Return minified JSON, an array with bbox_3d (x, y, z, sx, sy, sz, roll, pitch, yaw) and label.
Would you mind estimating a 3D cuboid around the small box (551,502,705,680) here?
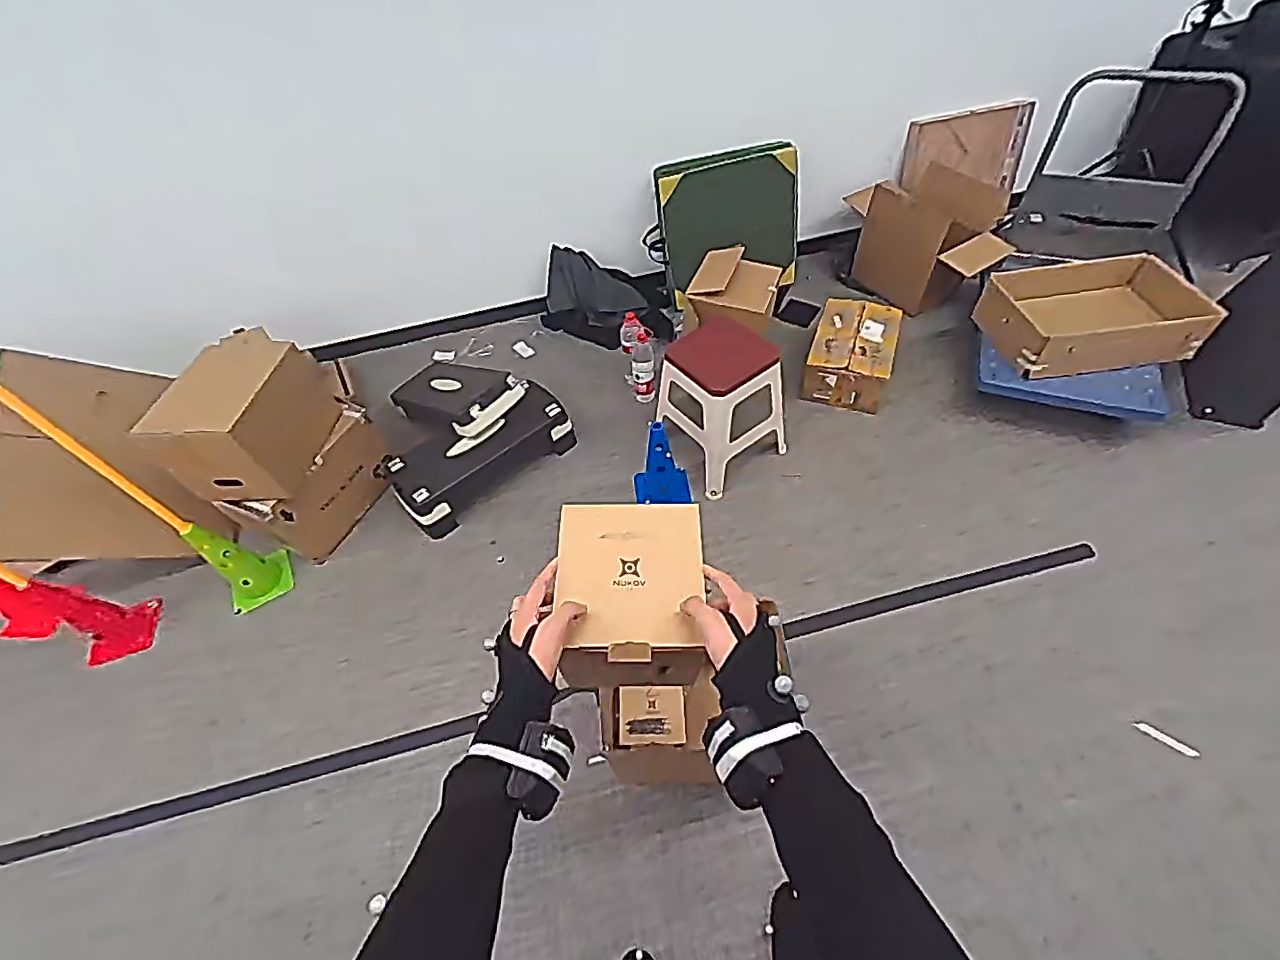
[{"bbox_3d":[-0.009,0.143,0.671,0.168,0.176,0.179,0,57,1],"label":"small box"}]
